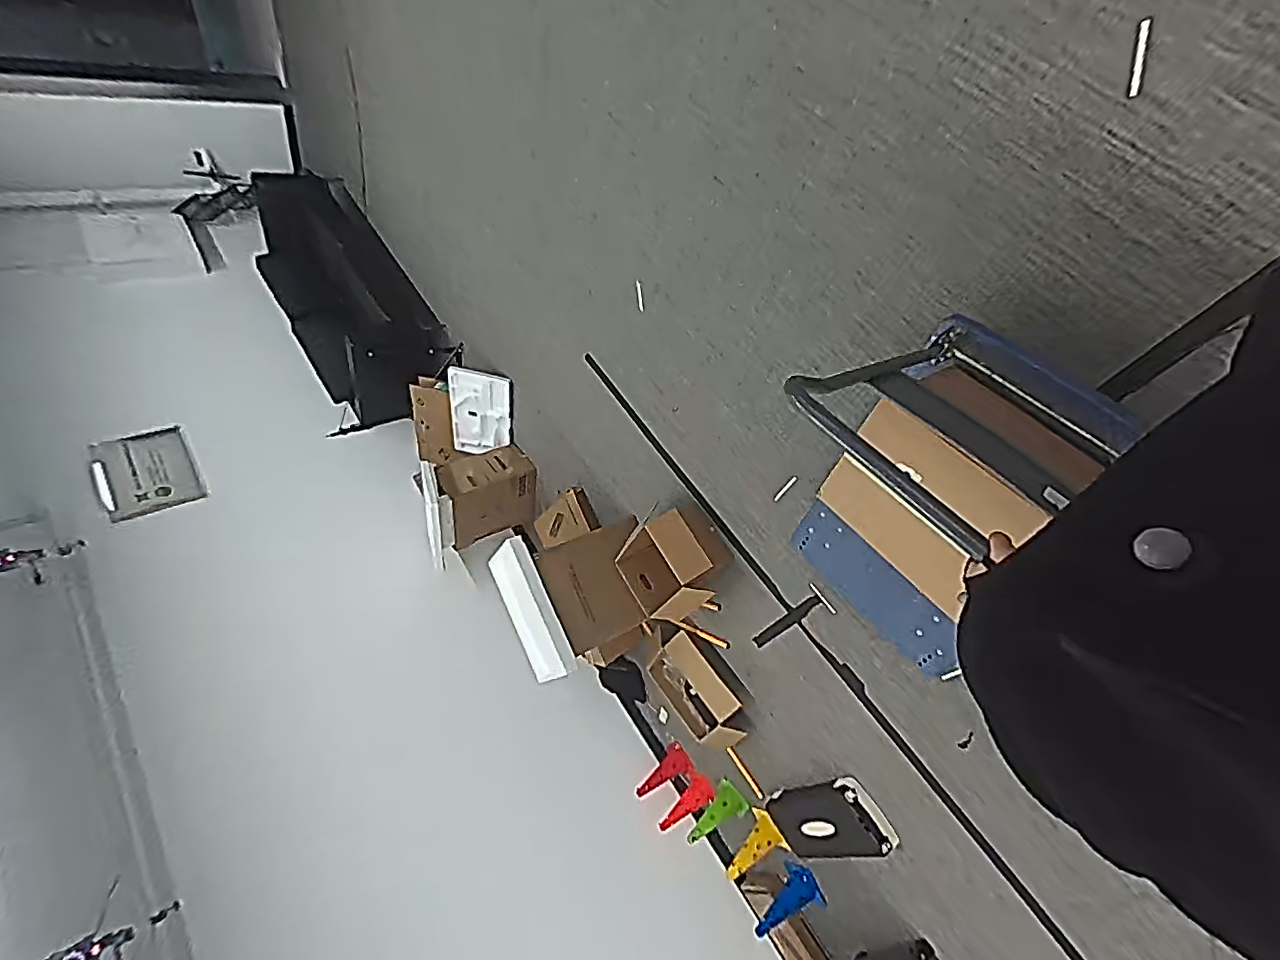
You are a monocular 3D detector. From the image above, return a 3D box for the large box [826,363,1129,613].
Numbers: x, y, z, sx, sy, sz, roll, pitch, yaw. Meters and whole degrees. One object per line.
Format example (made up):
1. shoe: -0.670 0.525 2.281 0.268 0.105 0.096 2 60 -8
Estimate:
1. large box: 0.713 0.003 1.187 0.408 0.320 0.320 49 142 28
